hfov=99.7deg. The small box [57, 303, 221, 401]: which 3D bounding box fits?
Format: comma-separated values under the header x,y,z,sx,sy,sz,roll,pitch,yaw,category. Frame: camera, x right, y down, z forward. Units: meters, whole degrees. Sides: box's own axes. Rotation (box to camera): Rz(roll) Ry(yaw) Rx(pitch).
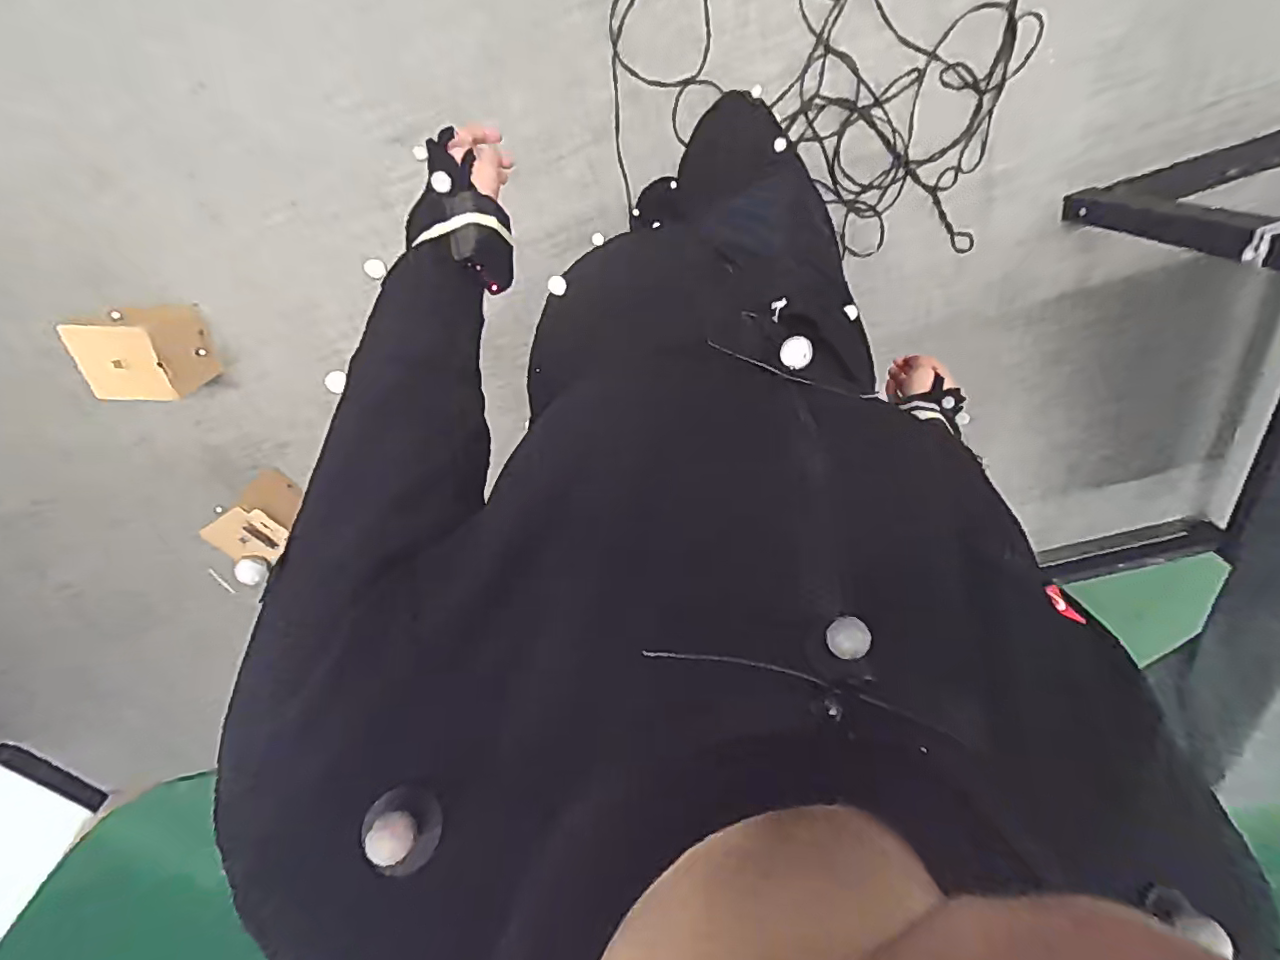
x,y,z,sx,sy,sz,roll,pitch,yaw,category
-1.094,-0.287,1.199,0.179,0.176,0.168,1,124,-2,small box
